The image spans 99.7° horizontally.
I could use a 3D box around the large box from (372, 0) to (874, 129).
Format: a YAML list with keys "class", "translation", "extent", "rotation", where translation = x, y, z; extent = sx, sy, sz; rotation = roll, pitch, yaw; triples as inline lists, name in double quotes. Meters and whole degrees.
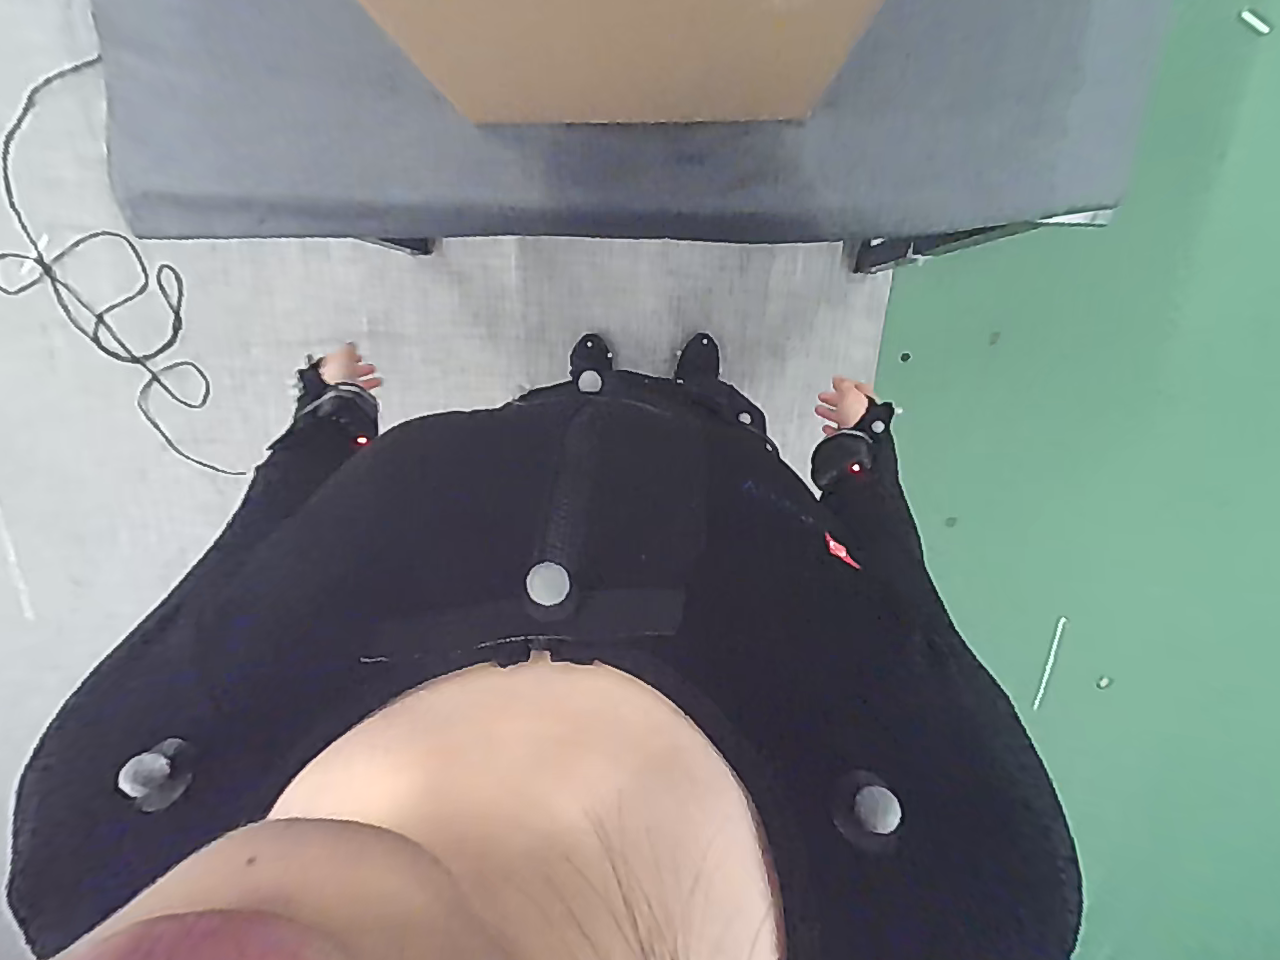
- class: "large box"
  translation: [-0.011, -0.538, 0.467]
  extent: [0.408, 0.320, 0.320]
  rotation: [0, 106, 2]
